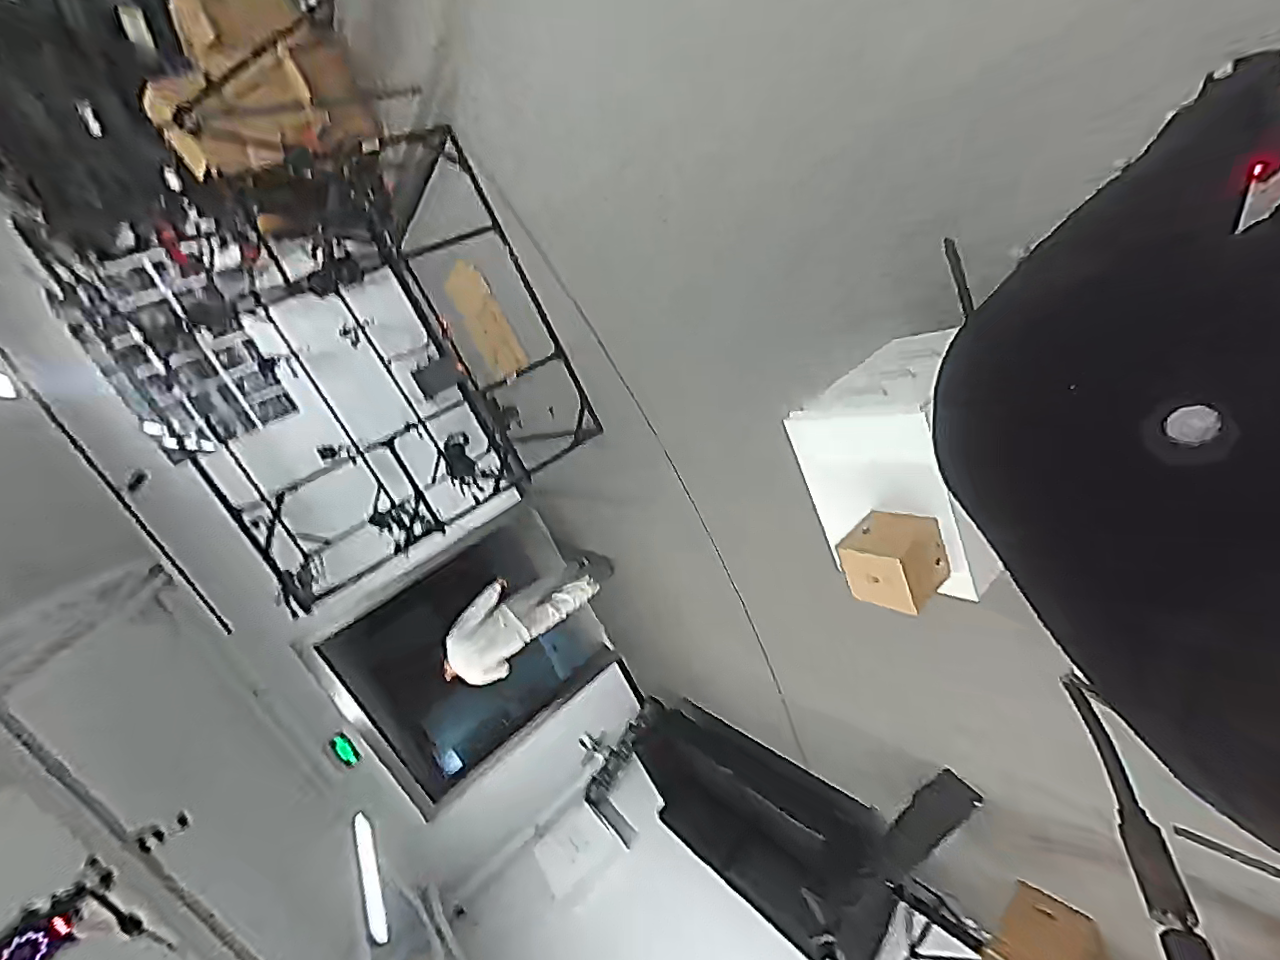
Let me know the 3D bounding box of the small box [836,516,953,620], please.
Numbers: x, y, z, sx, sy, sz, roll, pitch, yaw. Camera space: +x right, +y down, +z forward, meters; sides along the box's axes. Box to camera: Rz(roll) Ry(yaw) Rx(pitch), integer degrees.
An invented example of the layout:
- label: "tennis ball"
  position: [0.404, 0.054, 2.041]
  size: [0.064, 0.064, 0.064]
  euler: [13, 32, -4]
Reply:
- label: "small box"
  position: [0.615, 0.202, 1.308]
  size: [0.179, 0.176, 0.168]
  euler: [6, 127, 58]
